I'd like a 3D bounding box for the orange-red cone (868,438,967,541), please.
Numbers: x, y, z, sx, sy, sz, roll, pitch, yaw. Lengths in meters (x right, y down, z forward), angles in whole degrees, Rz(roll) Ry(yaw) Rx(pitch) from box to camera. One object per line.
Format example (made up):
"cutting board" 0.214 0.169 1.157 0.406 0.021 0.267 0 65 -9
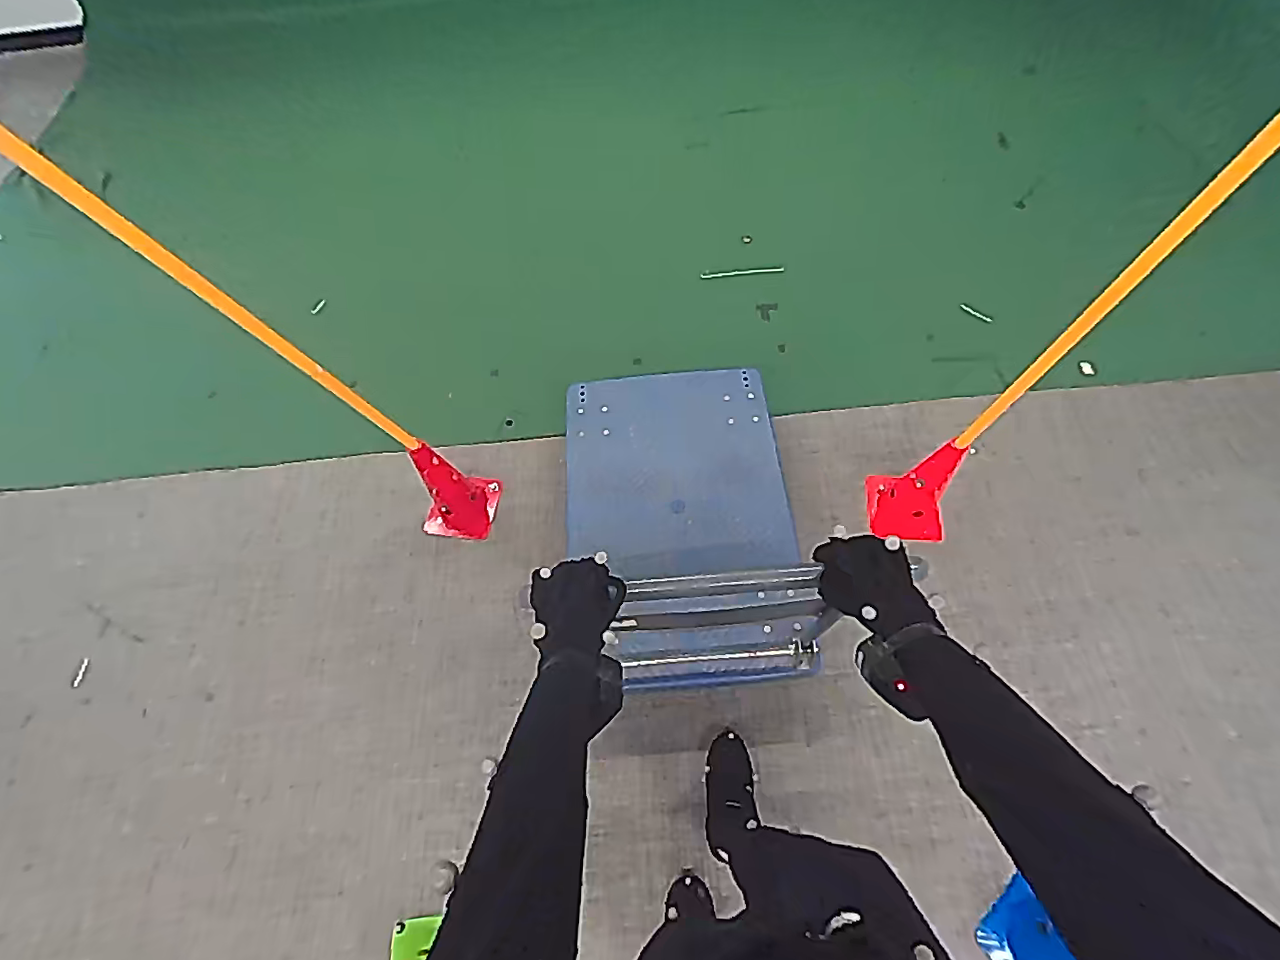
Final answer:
"orange-red cone" 0.746 0.000 1.393 0.198 0.360 0.199 4 64 7
